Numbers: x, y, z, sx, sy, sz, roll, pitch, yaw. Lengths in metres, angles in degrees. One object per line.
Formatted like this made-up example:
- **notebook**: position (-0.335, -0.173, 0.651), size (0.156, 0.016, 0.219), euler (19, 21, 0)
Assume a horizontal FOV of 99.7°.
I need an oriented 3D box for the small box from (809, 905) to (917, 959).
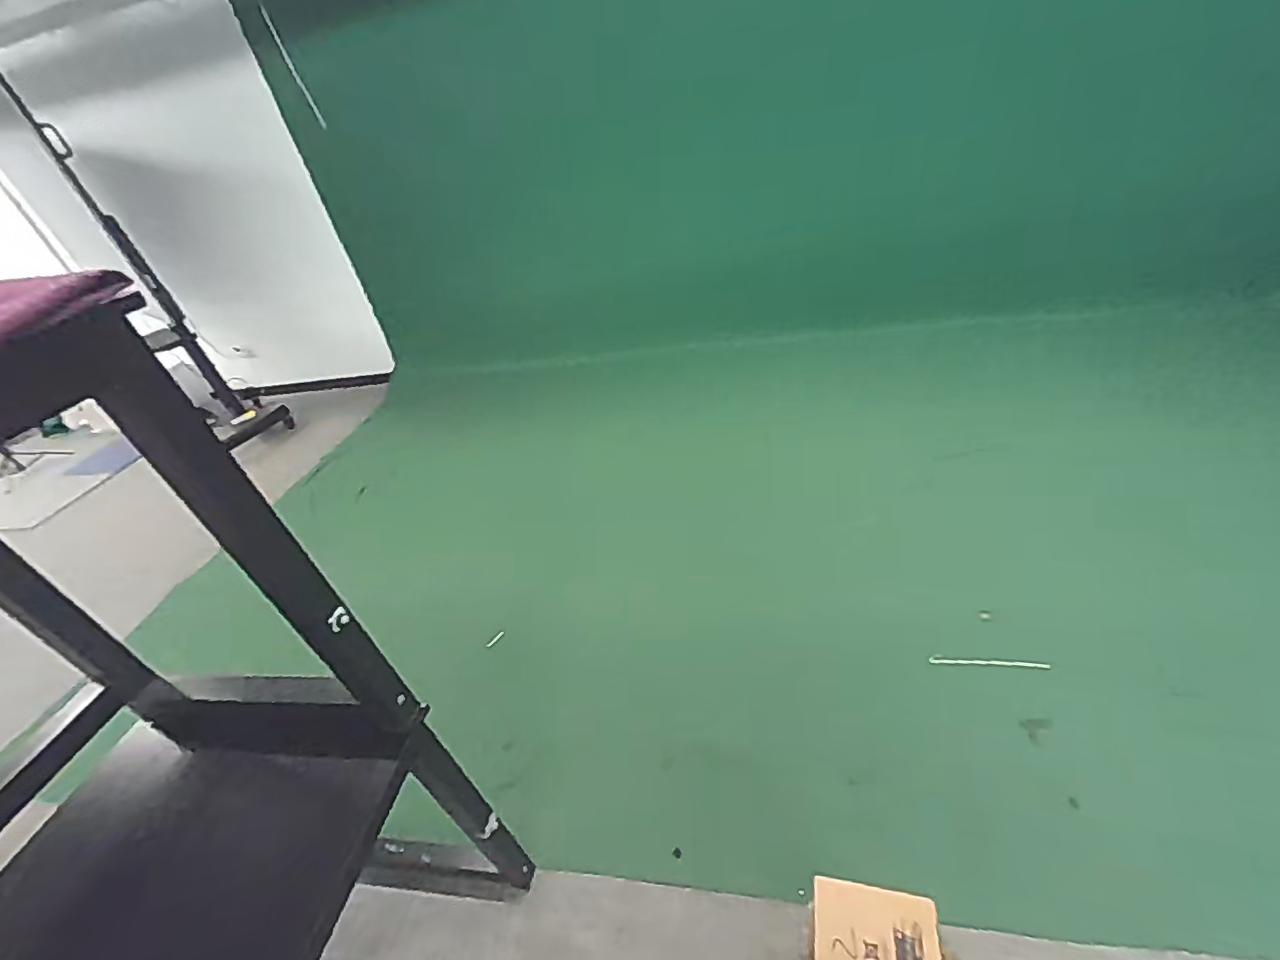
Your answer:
- **small box**: position (0.377, 0.866, 0.915), size (0.168, 0.176, 0.179), euler (-1, 37, 14)
